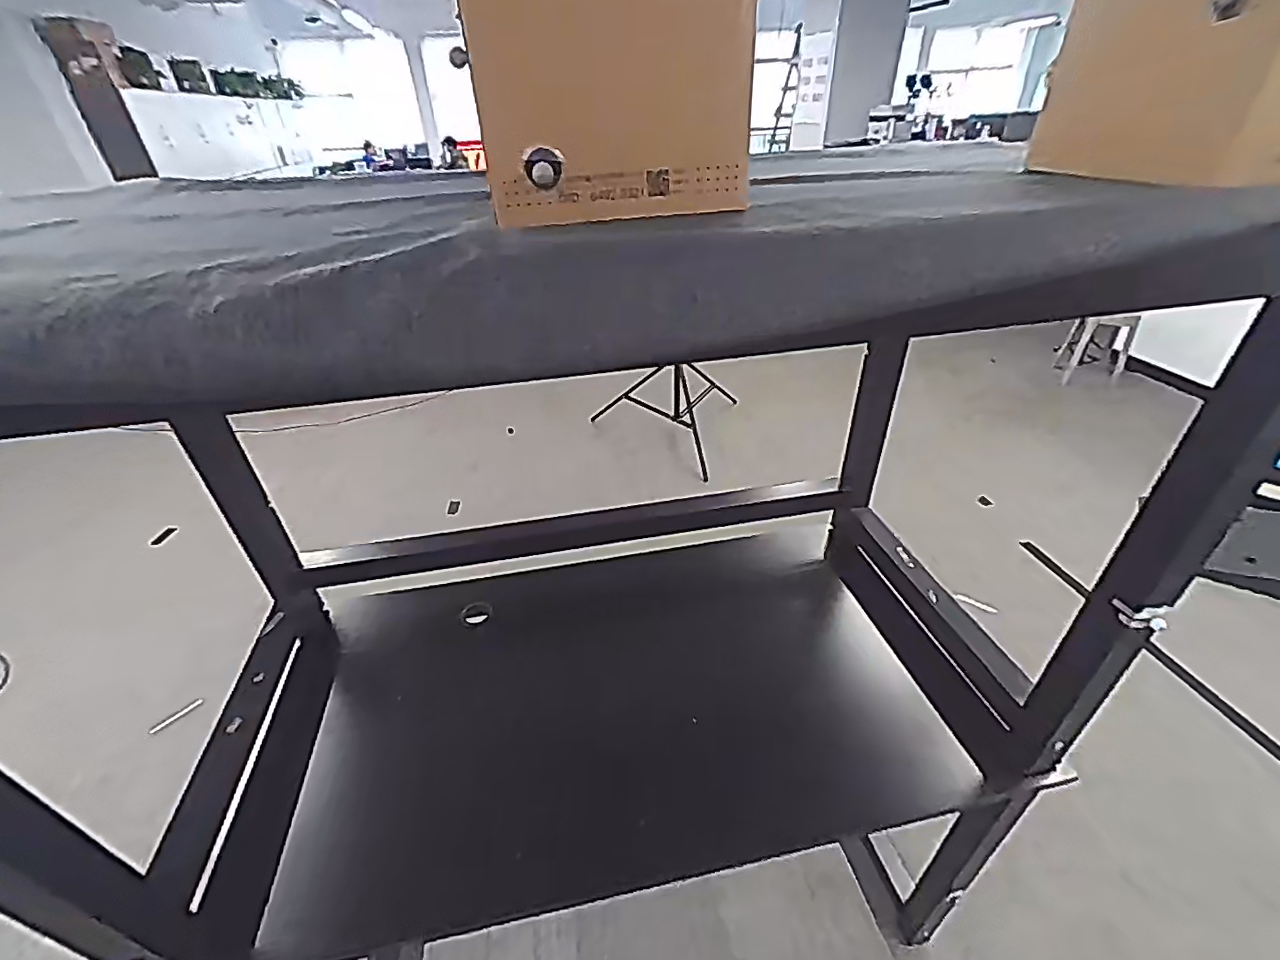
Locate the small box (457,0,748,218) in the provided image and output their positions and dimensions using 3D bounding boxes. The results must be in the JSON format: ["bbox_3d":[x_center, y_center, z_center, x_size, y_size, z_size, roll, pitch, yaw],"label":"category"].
[{"bbox_3d":[-0.029,-0.282,0.371,0.168,0.176,0.179,-8,33,-9],"label":"small box"}]
